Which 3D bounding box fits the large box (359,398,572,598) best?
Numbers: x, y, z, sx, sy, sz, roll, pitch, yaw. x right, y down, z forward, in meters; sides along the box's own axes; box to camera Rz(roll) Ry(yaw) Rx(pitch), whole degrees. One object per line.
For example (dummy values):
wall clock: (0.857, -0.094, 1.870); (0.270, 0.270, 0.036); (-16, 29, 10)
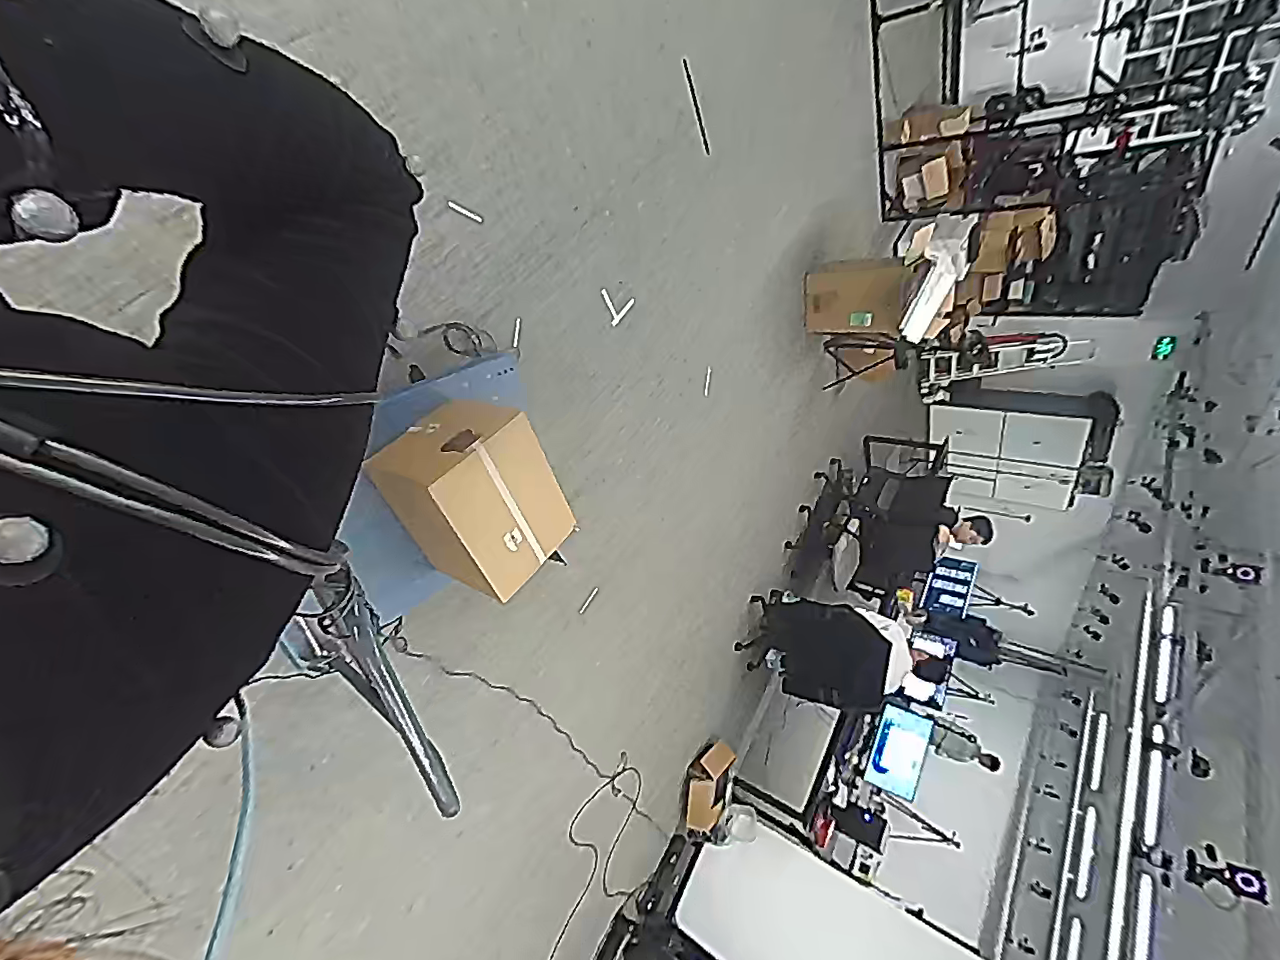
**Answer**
large box: (-0.449, 0.037, 1.447); (0.320, 0.320, 0.408); (-47, 135, -33)
